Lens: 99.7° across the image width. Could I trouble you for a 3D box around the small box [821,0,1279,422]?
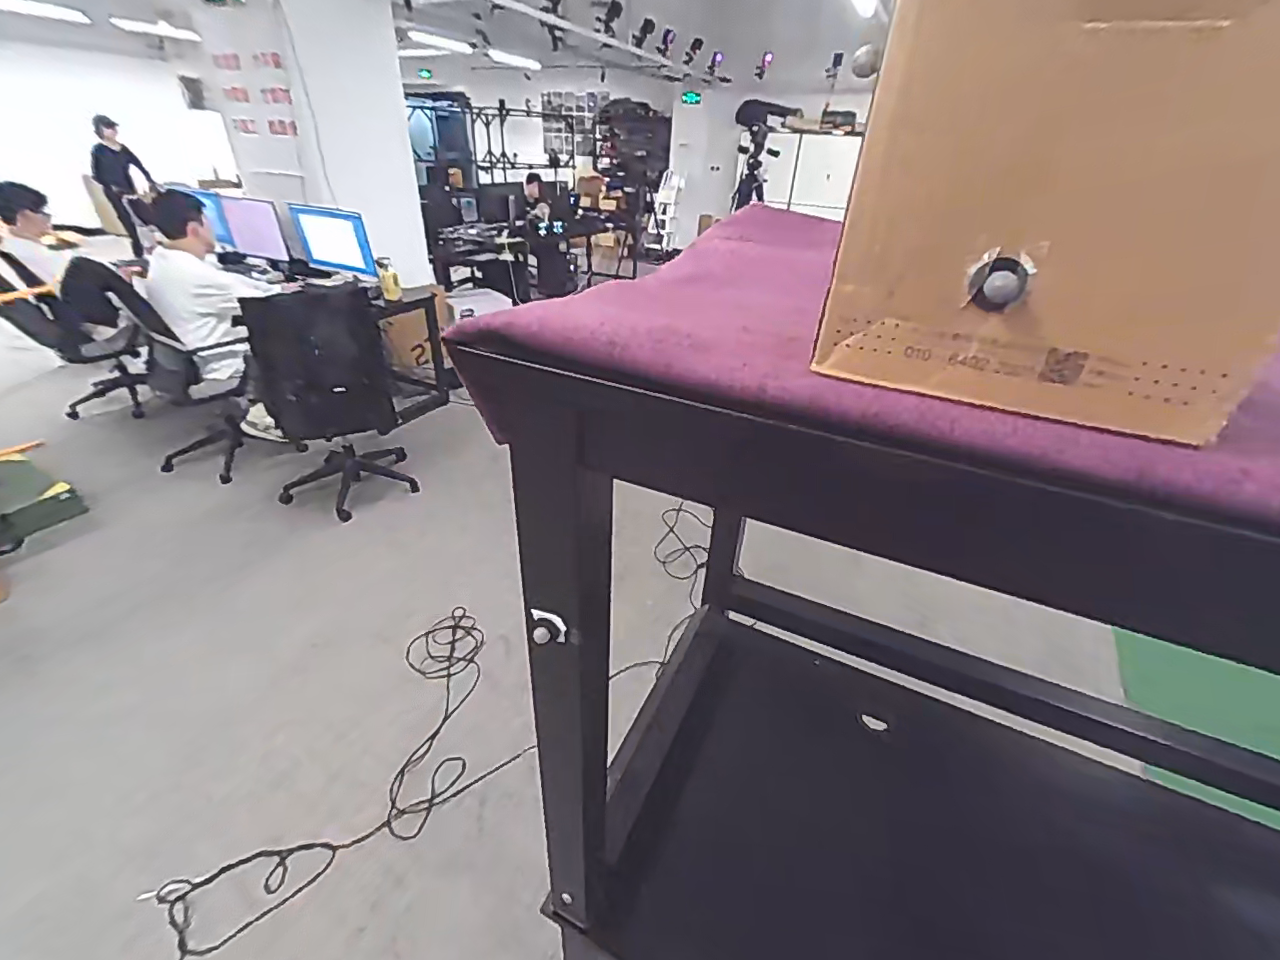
[{"bbox_3d":[0.202,-0.149,0.279,0.168,0.176,0.179,16,32,18],"label":"small box"}]
